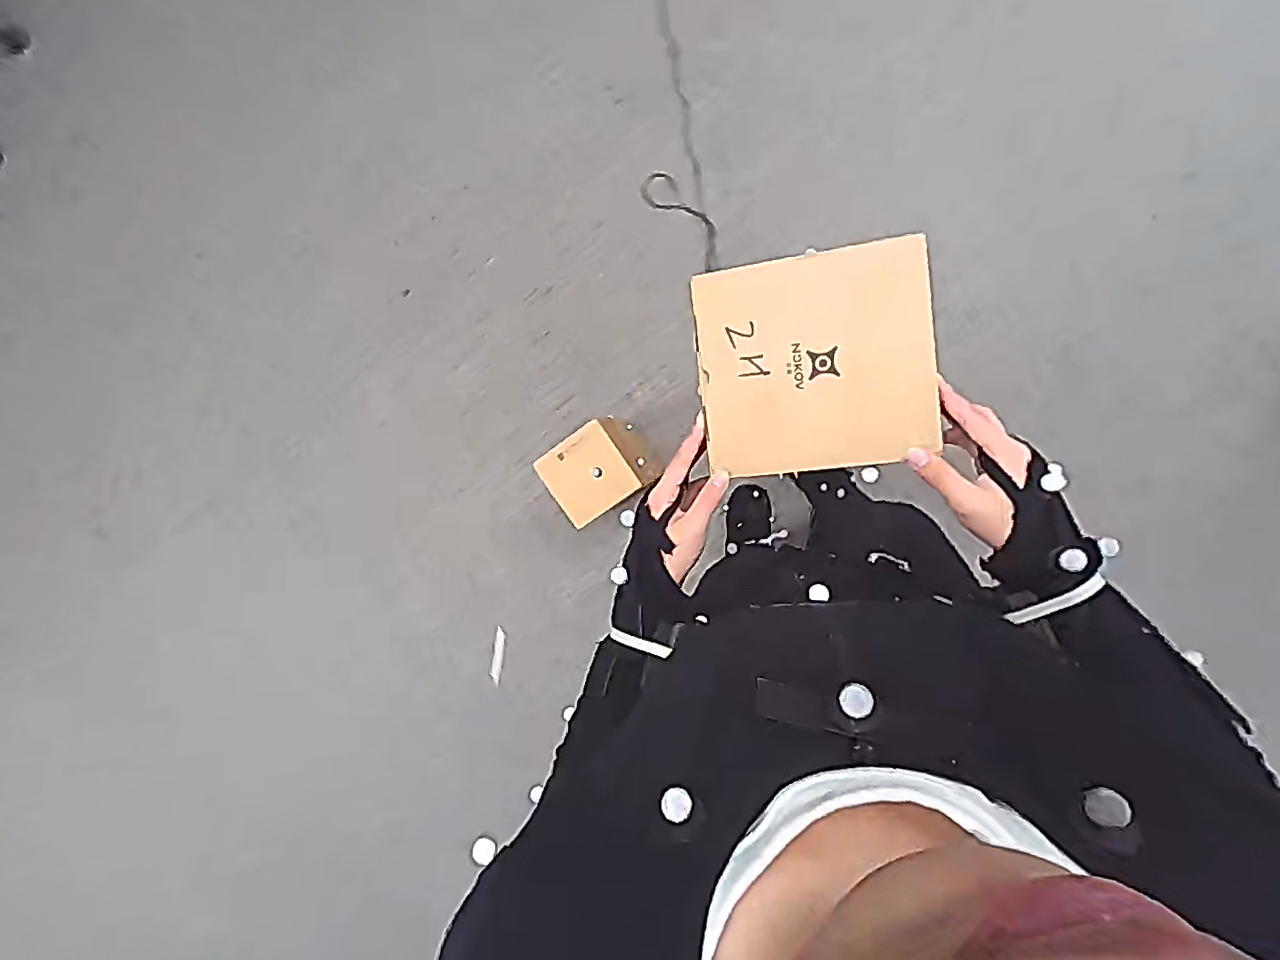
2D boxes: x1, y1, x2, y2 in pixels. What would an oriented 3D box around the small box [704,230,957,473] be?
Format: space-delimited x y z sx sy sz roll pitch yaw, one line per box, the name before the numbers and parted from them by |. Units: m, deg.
small box | 0.158 -0.098 0.483 0.179 0.176 0.168 -4 93 14
